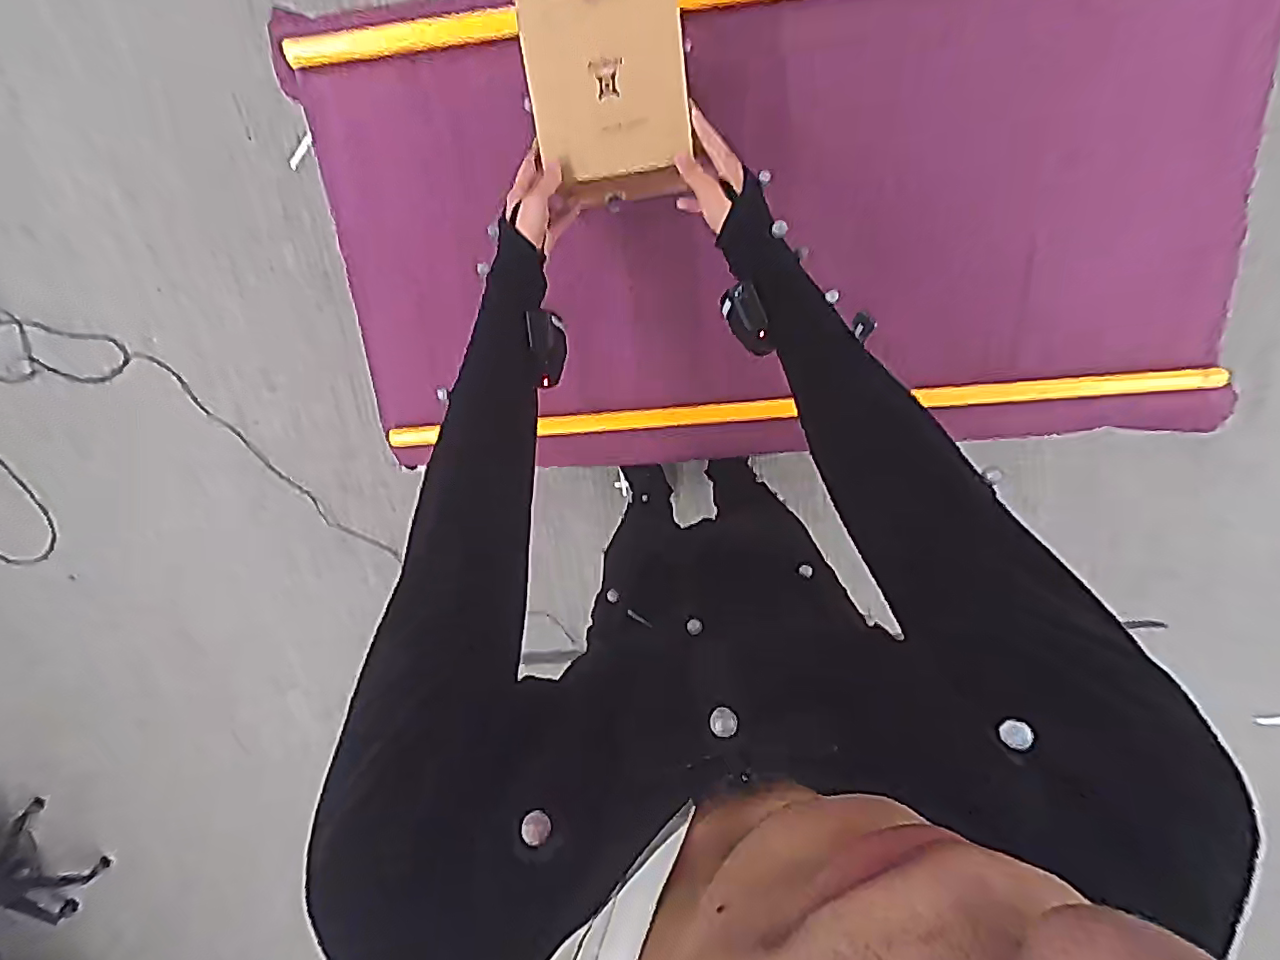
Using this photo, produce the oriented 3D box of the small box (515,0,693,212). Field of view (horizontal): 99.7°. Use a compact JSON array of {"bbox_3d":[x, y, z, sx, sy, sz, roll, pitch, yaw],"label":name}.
[{"bbox_3d":[-0.032,-0.435,0.635,0.168,0.176,0.179,-7,107,5],"label":"small box"}]
